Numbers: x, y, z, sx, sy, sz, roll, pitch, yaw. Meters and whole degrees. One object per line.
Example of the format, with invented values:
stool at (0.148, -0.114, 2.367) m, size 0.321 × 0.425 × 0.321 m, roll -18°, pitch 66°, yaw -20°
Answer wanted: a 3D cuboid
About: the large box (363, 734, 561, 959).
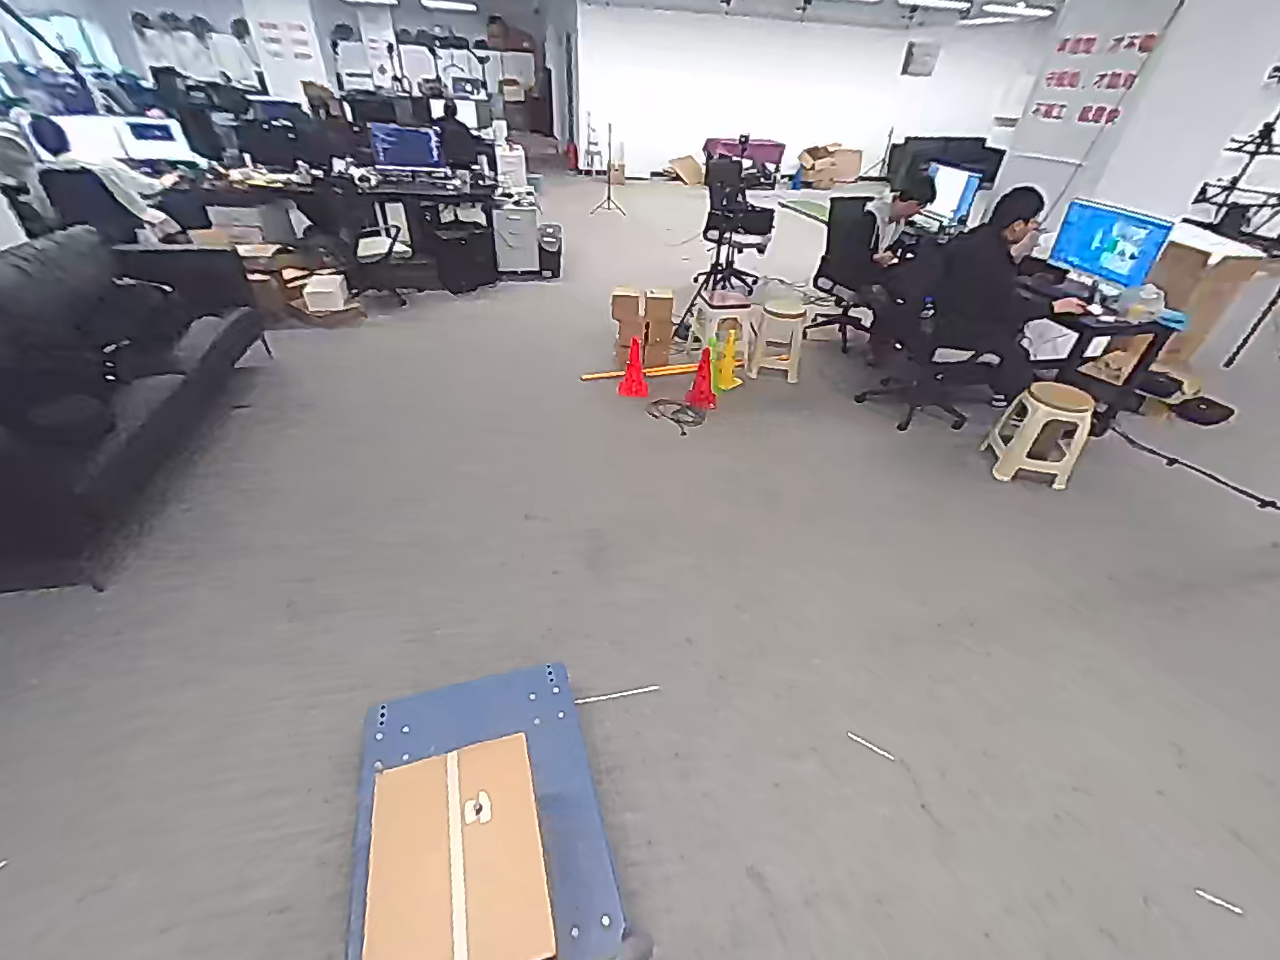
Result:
large box at (-0.353, 0.824, 1.109) m, size 0.320 × 0.320 × 0.408 m, roll -9°, pitch 38°, yaw -16°
